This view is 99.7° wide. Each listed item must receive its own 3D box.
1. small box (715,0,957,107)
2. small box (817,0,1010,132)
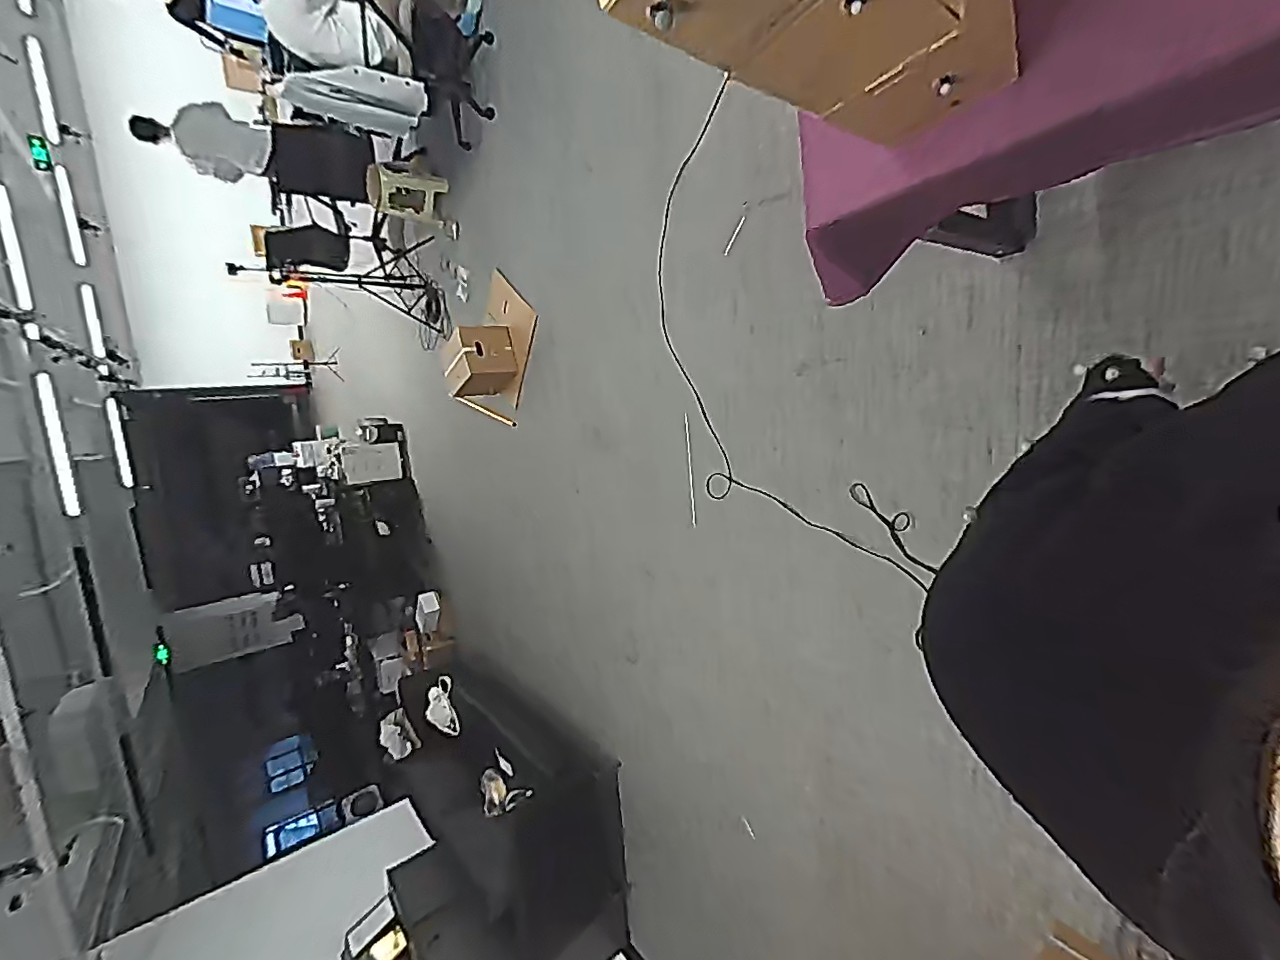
[{"bbox_3d":[0.194,-0.529,0.556,0.179,0.176,0.168,-4,96,51],"label":"small box"},{"bbox_3d":[0.324,-0.553,0.652,0.168,0.176,0.179,-1,97,51],"label":"small box"}]
